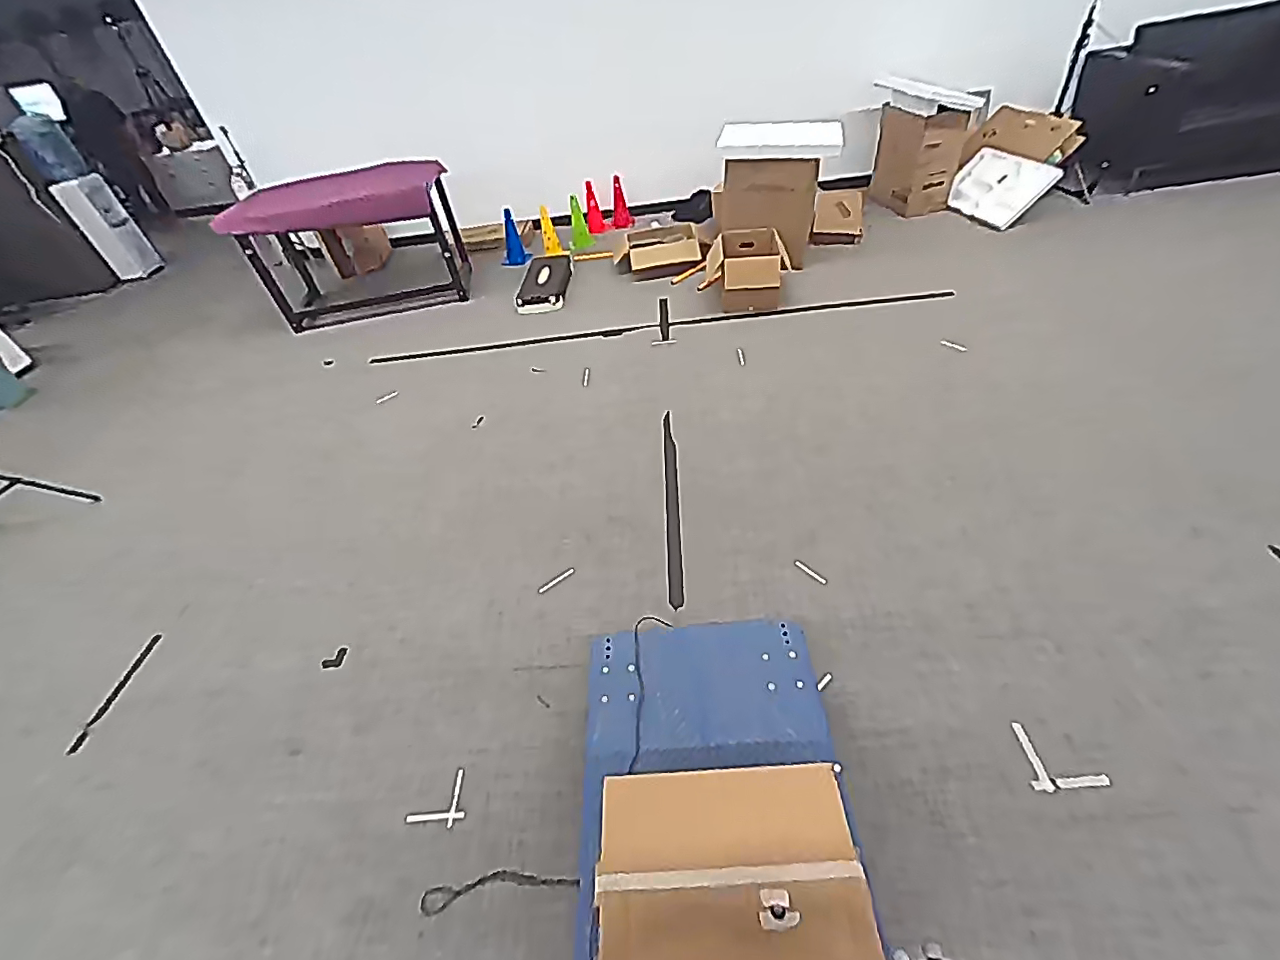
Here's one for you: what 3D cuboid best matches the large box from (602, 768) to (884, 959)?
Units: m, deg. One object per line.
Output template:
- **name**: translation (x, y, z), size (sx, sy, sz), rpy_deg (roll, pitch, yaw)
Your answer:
- **large box**: translation (0.153, 0.732, 0.930), size (0.408, 0.320, 0.320), rpy_deg (-5, 42, 3)
